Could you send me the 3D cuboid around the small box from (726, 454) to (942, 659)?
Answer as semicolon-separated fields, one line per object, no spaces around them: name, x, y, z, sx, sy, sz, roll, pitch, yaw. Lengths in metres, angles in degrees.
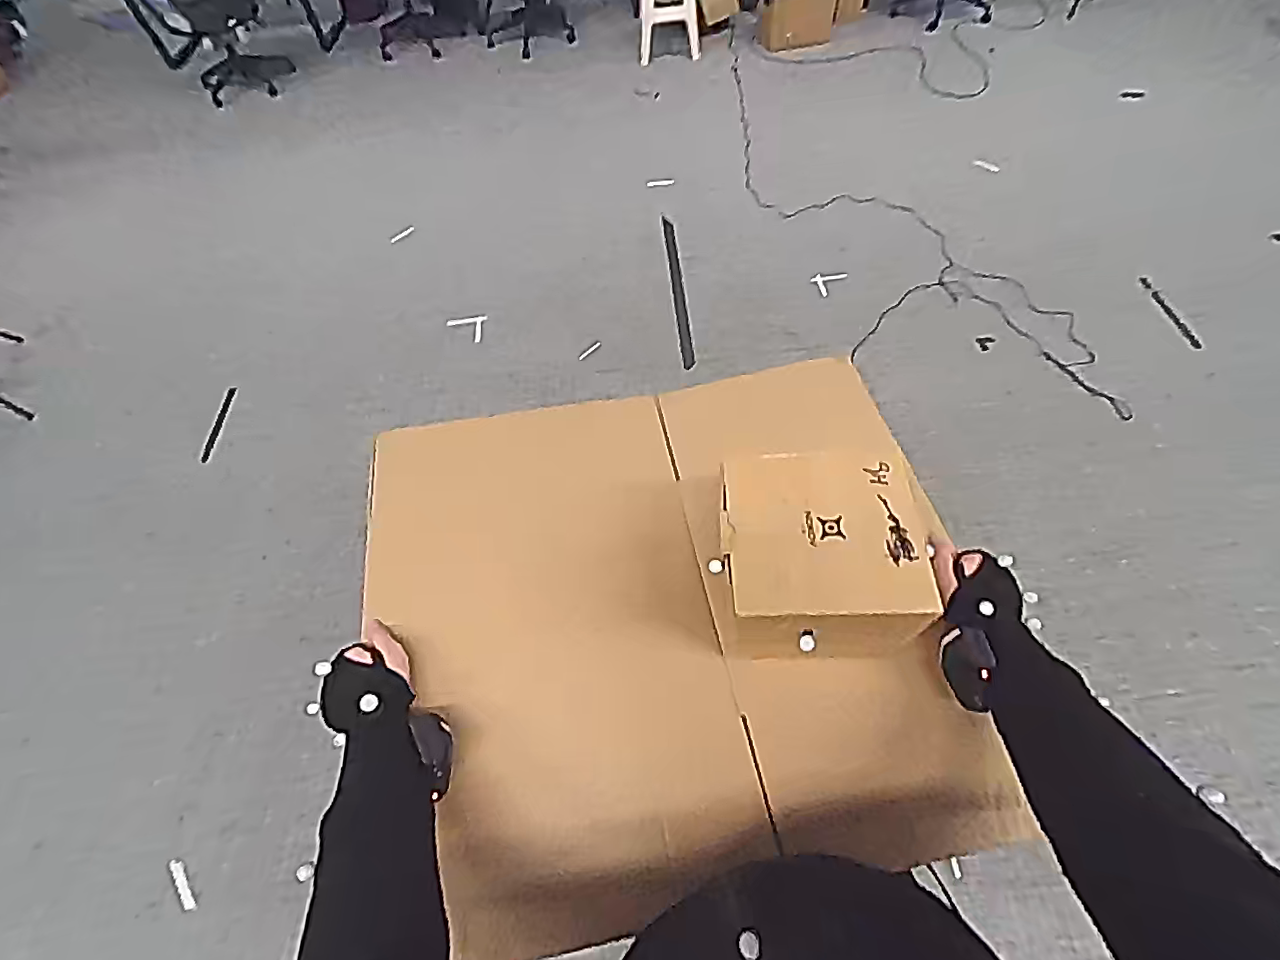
small box;0.186;0.089;0.576;0.179;0.176;0.168;-3;59;8
